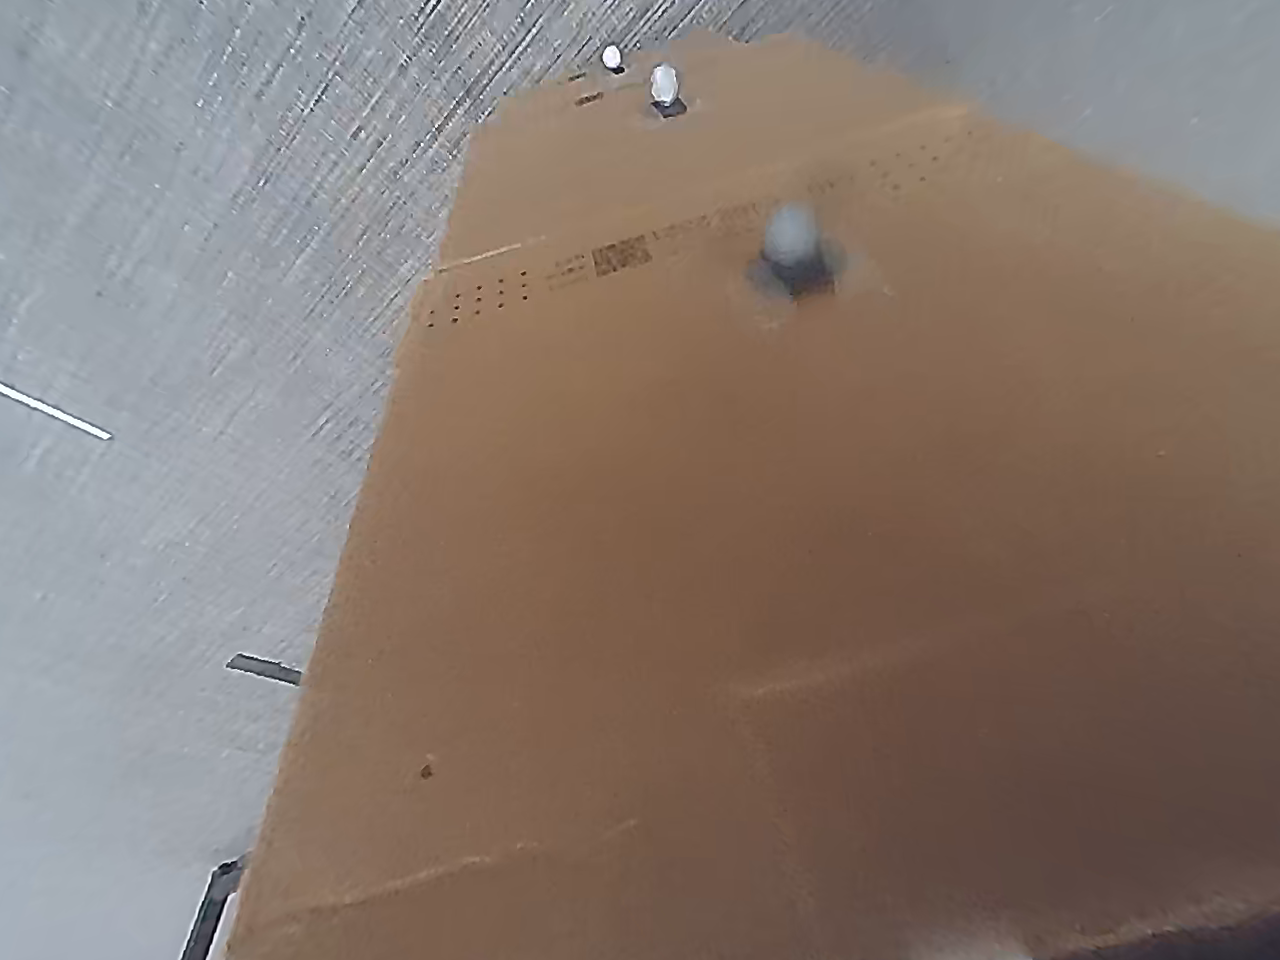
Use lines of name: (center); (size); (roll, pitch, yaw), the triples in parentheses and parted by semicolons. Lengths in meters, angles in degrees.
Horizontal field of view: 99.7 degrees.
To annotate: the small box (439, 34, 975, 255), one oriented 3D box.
small box: (0.020, -0.093, 0.270); (0.168, 0.176, 0.179); (-14, 137, 2)
